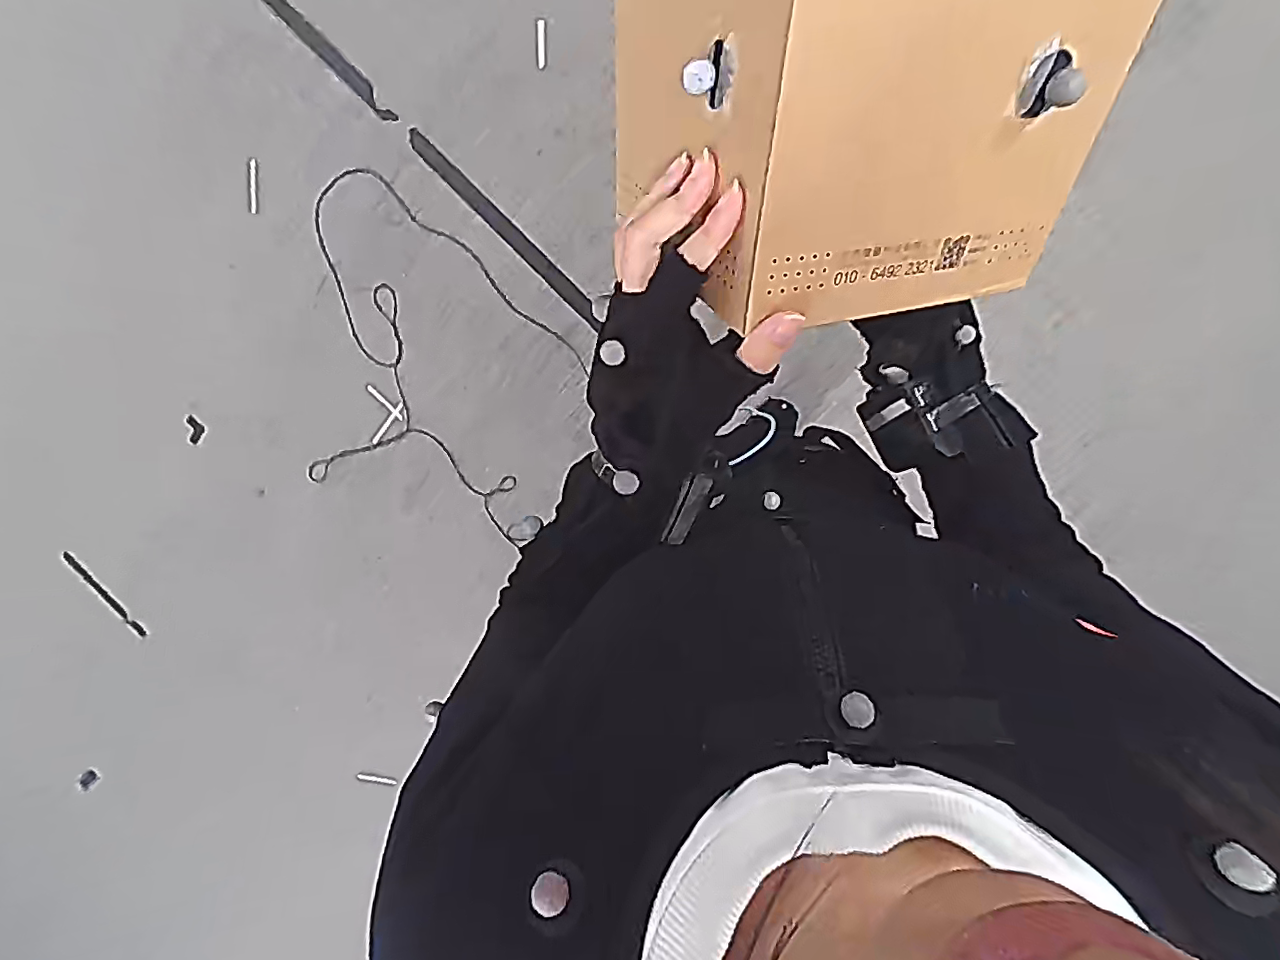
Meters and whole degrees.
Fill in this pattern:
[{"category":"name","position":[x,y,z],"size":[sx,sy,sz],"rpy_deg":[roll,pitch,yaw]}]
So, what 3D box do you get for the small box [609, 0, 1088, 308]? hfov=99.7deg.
[{"category":"small box","position":[0.088,-0.200,0.285],"size":[0.168,0.179,0.176],"rpy_deg":[-14,133,-17]}]
